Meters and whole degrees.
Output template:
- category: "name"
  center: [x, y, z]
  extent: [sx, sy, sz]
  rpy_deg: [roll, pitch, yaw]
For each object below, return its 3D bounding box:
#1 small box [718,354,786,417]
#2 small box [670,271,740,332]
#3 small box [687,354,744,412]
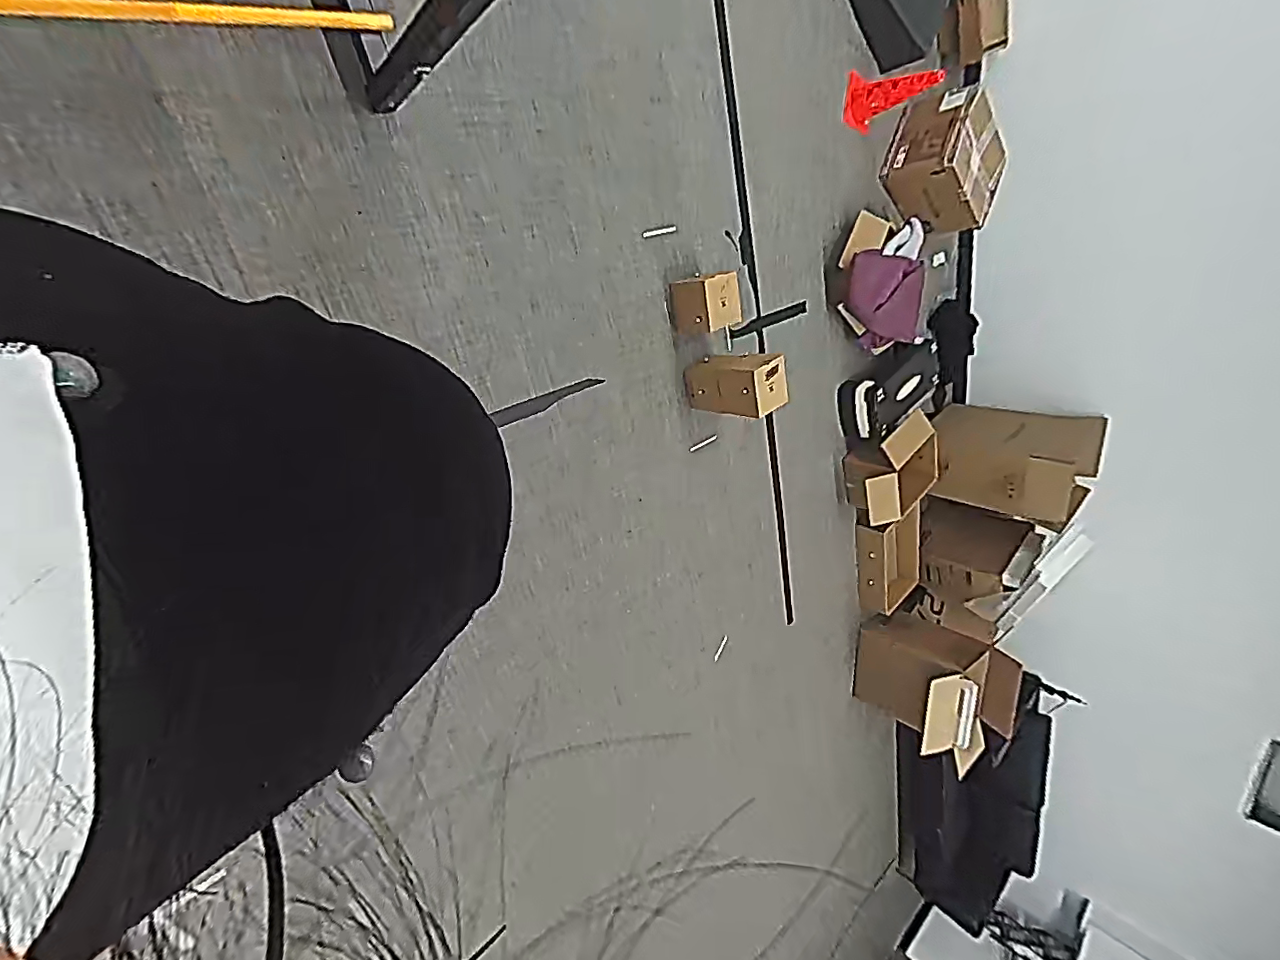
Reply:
- category: "small box"
  center: [0.394, -0.340, 1.915]
  extent: [0.168, 0.176, 0.179]
  rpy_deg: [-31, 121, -31]
- category: "small box"
  center: [0.229, -0.630, 1.913]
  extent: [0.168, 0.176, 0.179]
  rpy_deg: [-27, 118, -33]
- category: "small box"
  center: [0.293, -0.370, 2.043]
  extent: [0.179, 0.176, 0.168]
  rpy_deg: [-31, 120, -30]
